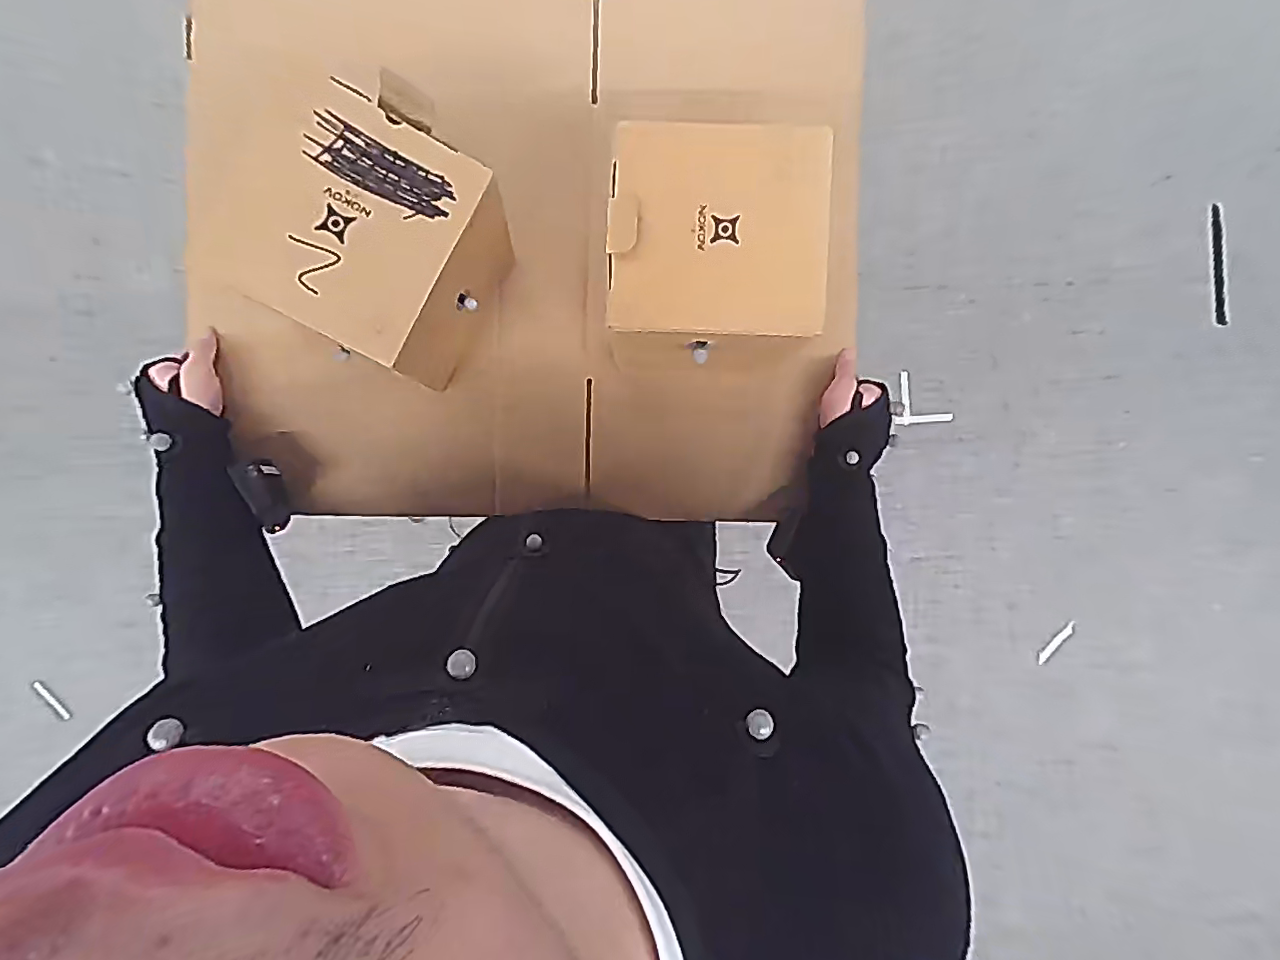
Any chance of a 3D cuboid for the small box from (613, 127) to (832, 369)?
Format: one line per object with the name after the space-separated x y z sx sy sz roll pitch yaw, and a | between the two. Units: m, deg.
0.069 -0.206 0.525 0.179 0.176 0.168 2 91 2 | small box
